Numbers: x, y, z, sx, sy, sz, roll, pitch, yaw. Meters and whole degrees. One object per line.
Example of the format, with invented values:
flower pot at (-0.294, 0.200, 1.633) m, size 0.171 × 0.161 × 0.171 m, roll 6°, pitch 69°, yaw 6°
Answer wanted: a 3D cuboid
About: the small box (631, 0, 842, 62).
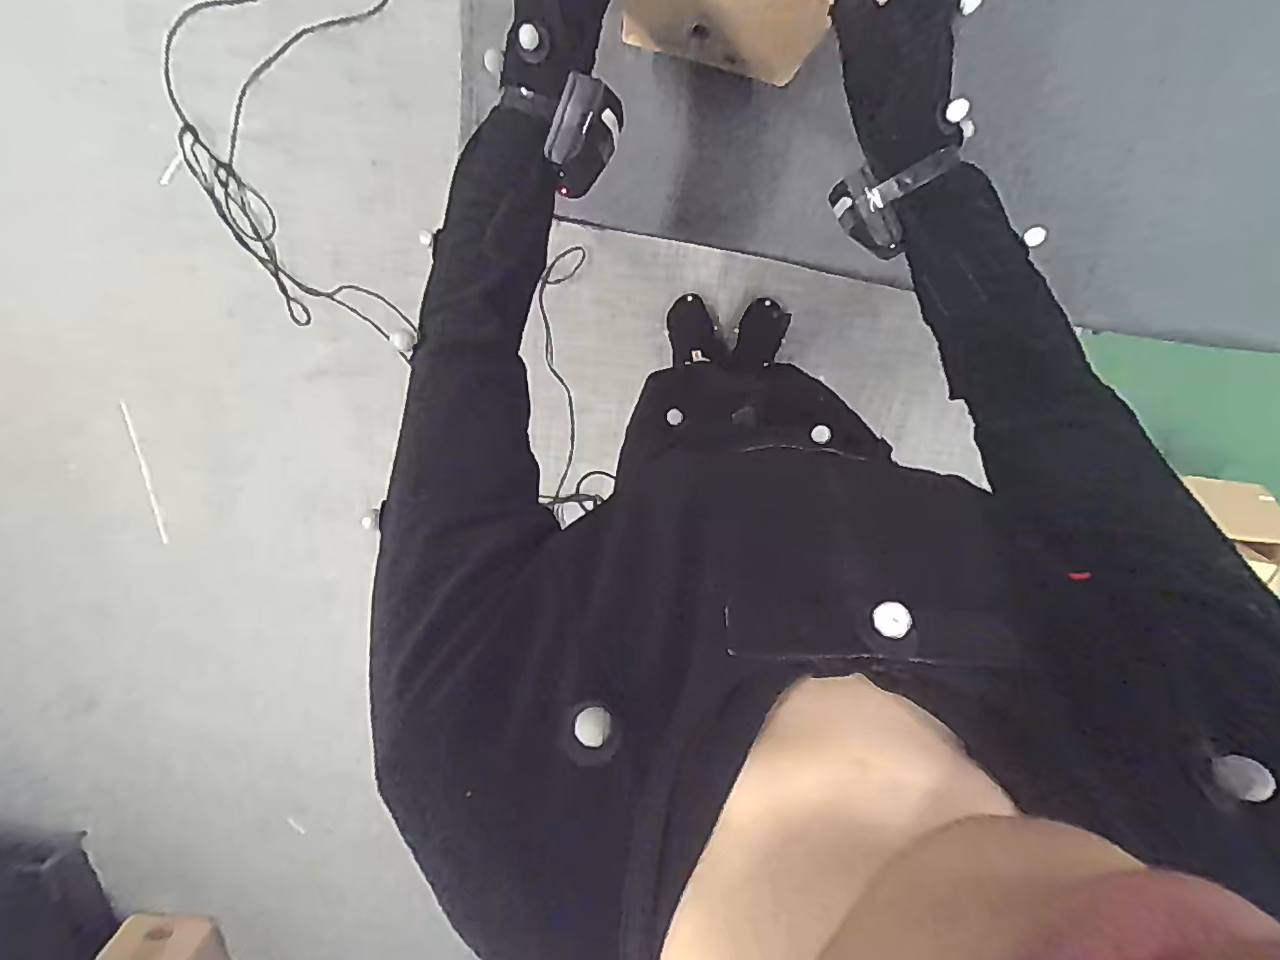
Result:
small box at (0.084, -0.463, 0.407) m, size 0.168 × 0.176 × 0.179 m, roll 11°, pitch 112°, yaw -5°
